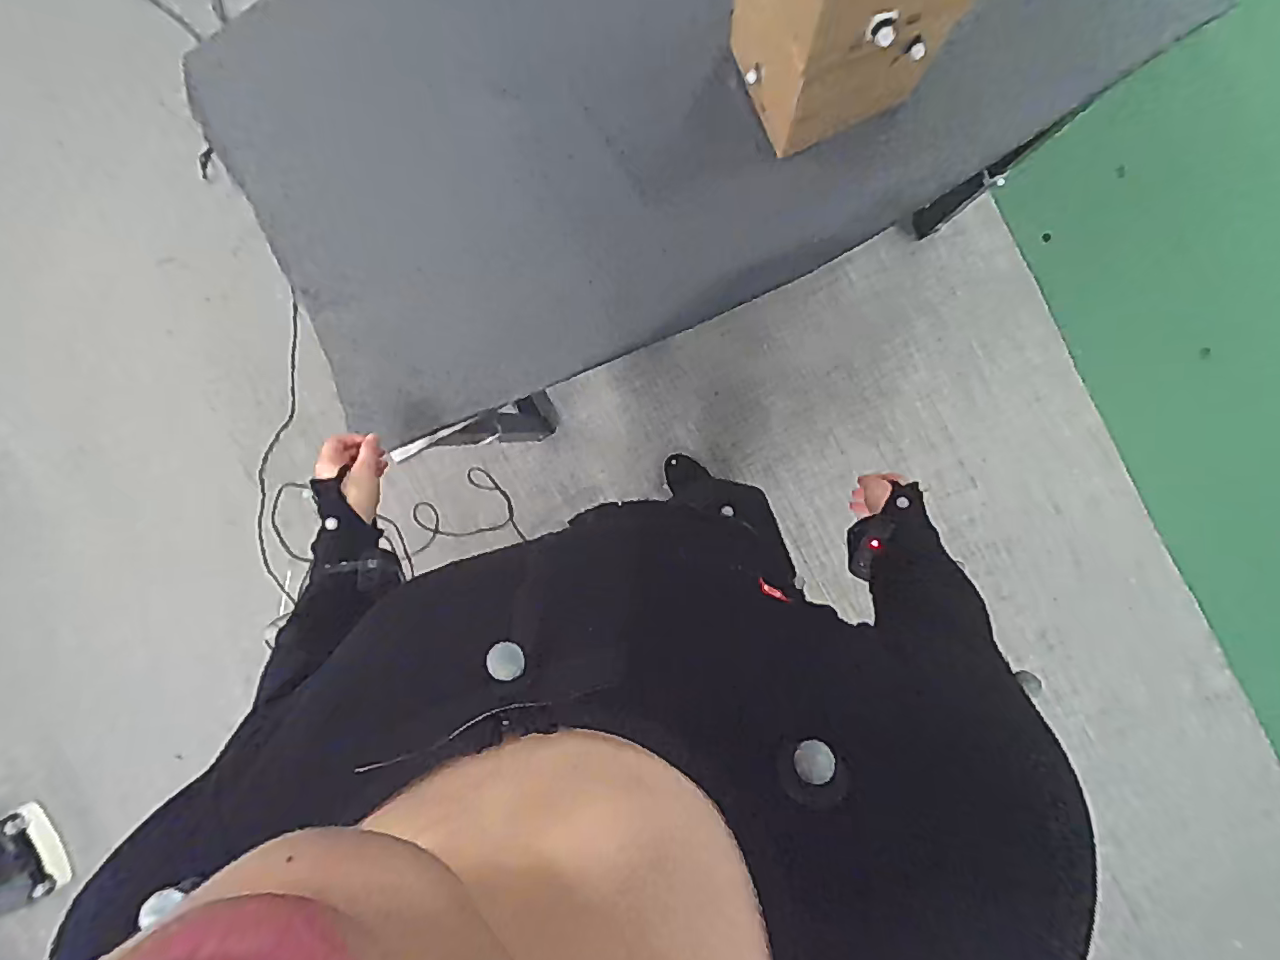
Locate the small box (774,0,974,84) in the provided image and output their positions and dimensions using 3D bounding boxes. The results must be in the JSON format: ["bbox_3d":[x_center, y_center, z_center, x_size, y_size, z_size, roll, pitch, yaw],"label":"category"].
[{"bbox_3d":[0.200,-0.490,0.448,0.168,0.176,0.179,-18,93,8],"label":"small box"}]

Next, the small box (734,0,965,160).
[{"bbox_3d":[0.219,-0.509,0.608,0.179,0.176,0.168,-23,91,7],"label":"small box"}]
